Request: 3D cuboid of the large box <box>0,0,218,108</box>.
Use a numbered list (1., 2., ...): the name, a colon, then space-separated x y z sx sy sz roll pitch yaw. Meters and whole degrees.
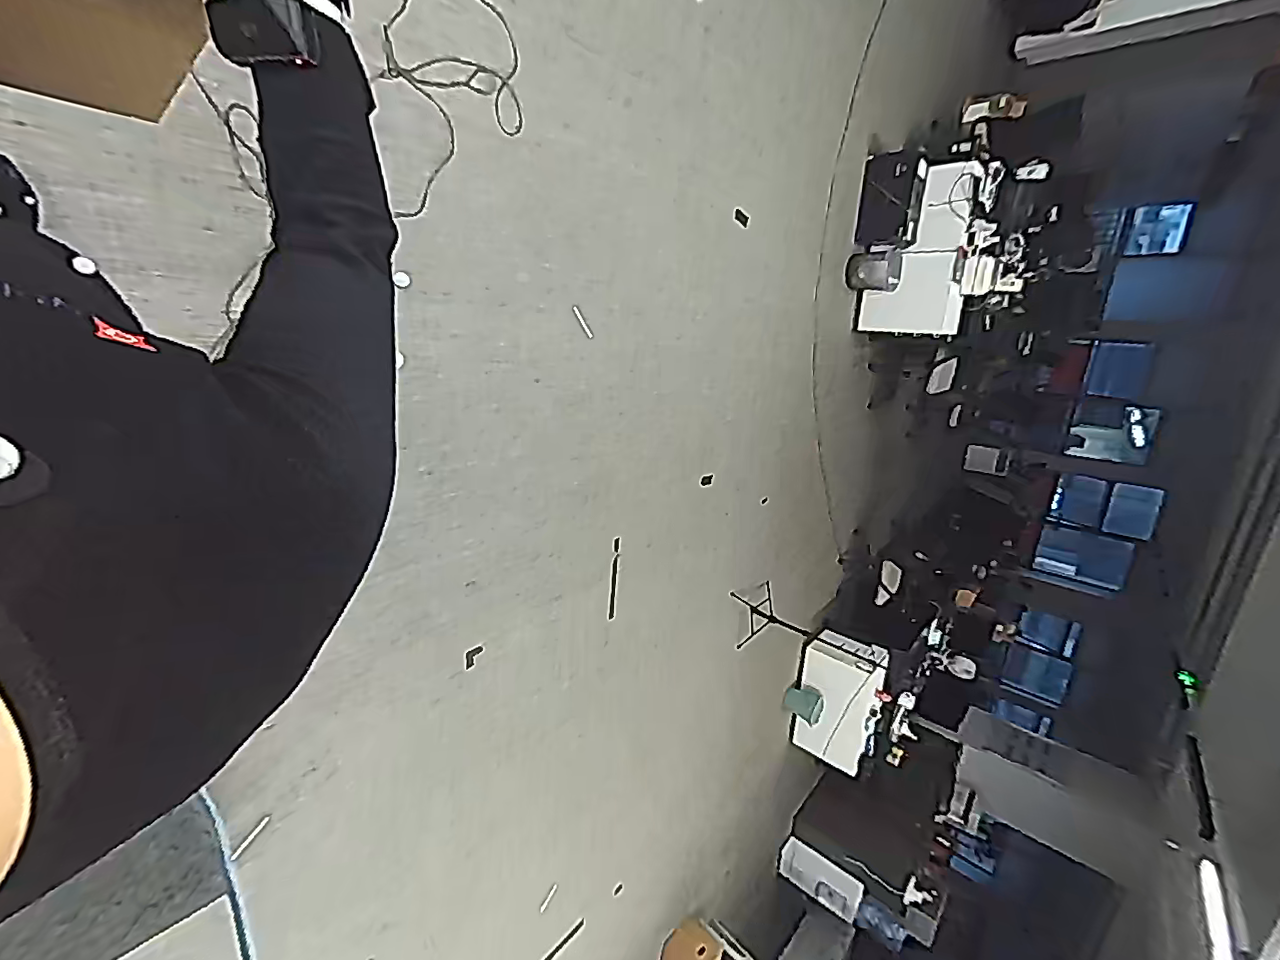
1. large box: -0.513 -0.469 0.280 0.408 0.320 0.320 -13 109 -47
